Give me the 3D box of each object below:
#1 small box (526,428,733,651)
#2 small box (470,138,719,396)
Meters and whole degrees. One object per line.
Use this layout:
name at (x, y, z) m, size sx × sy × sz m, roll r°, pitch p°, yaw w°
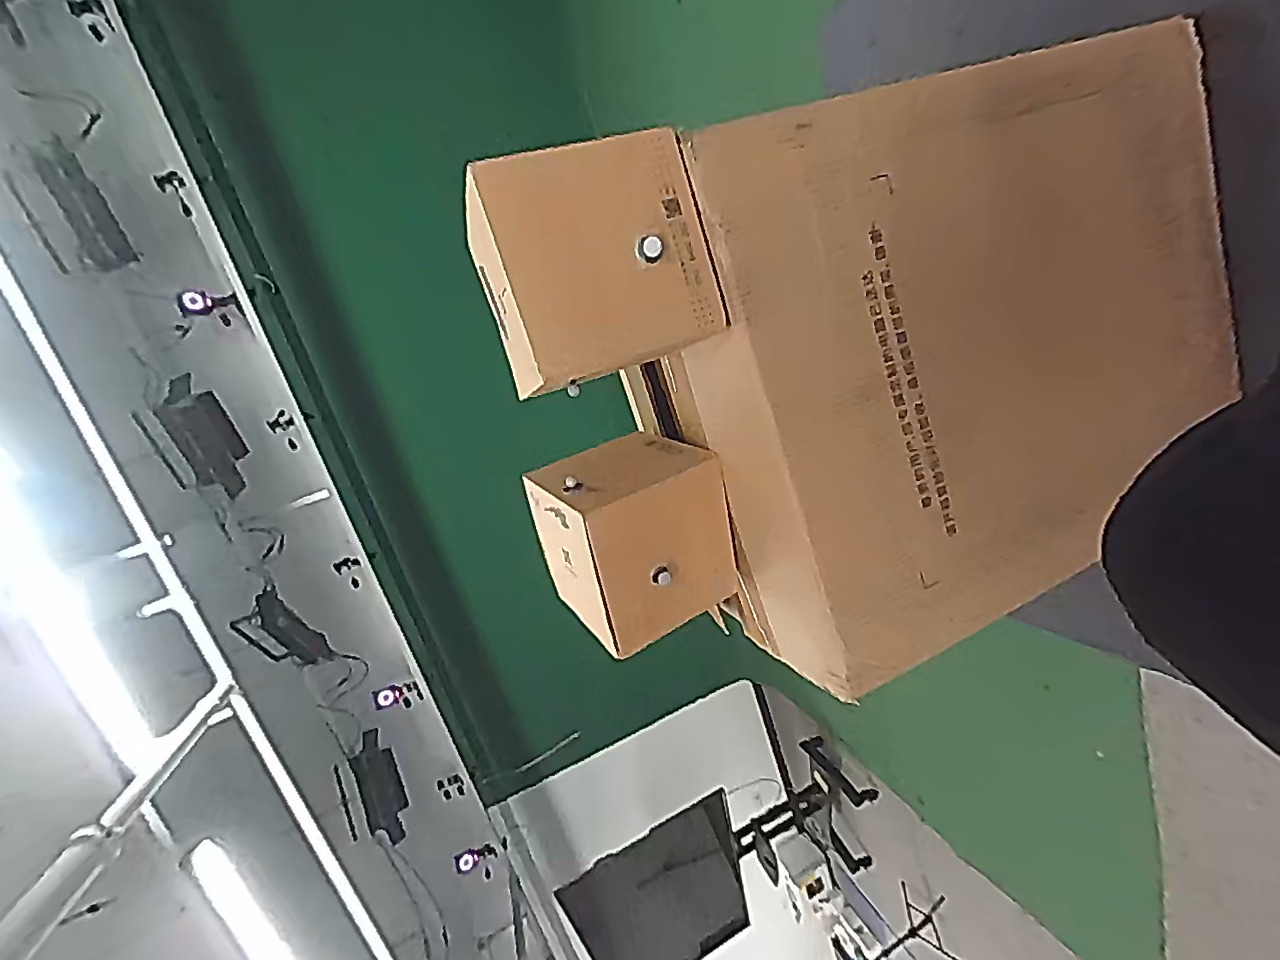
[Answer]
small box at (-0.008, 0.058, 0.639) m, size 0.168 × 0.176 × 0.179 m, roll 23°, pitch 132°, yaw 55°
small box at (-0.049, -0.185, 0.509) m, size 0.179 × 0.176 × 0.168 m, roll -166°, pitch 57°, yaw -72°
